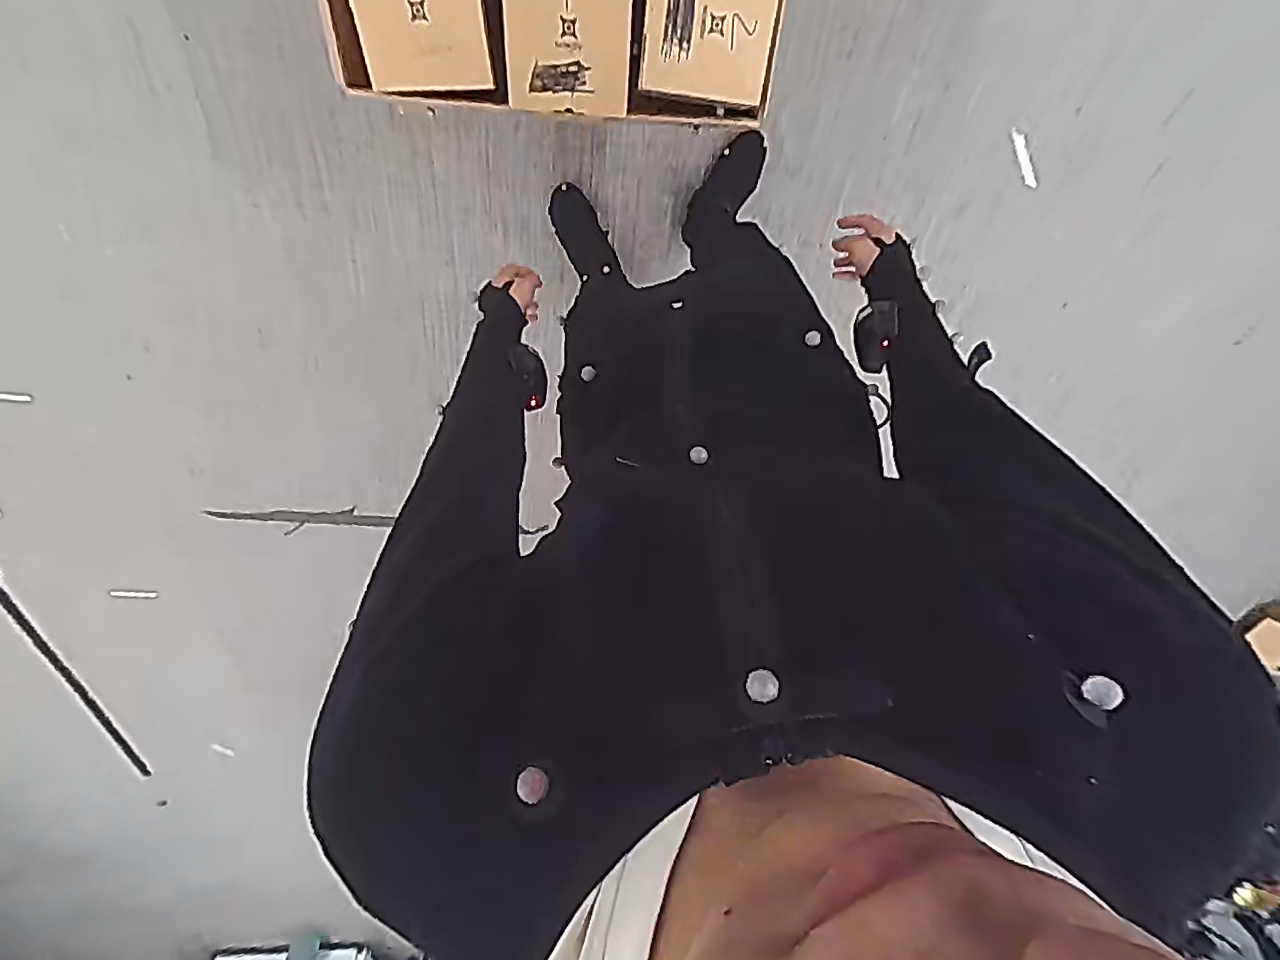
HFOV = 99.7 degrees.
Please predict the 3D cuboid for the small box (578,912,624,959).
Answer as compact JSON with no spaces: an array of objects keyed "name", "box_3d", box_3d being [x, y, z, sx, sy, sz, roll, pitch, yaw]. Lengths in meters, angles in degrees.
[{"name":"small box","box_3d":[-0.154,1.828,2.119,0.168,0.176,0.179,6,124,-8]}]
